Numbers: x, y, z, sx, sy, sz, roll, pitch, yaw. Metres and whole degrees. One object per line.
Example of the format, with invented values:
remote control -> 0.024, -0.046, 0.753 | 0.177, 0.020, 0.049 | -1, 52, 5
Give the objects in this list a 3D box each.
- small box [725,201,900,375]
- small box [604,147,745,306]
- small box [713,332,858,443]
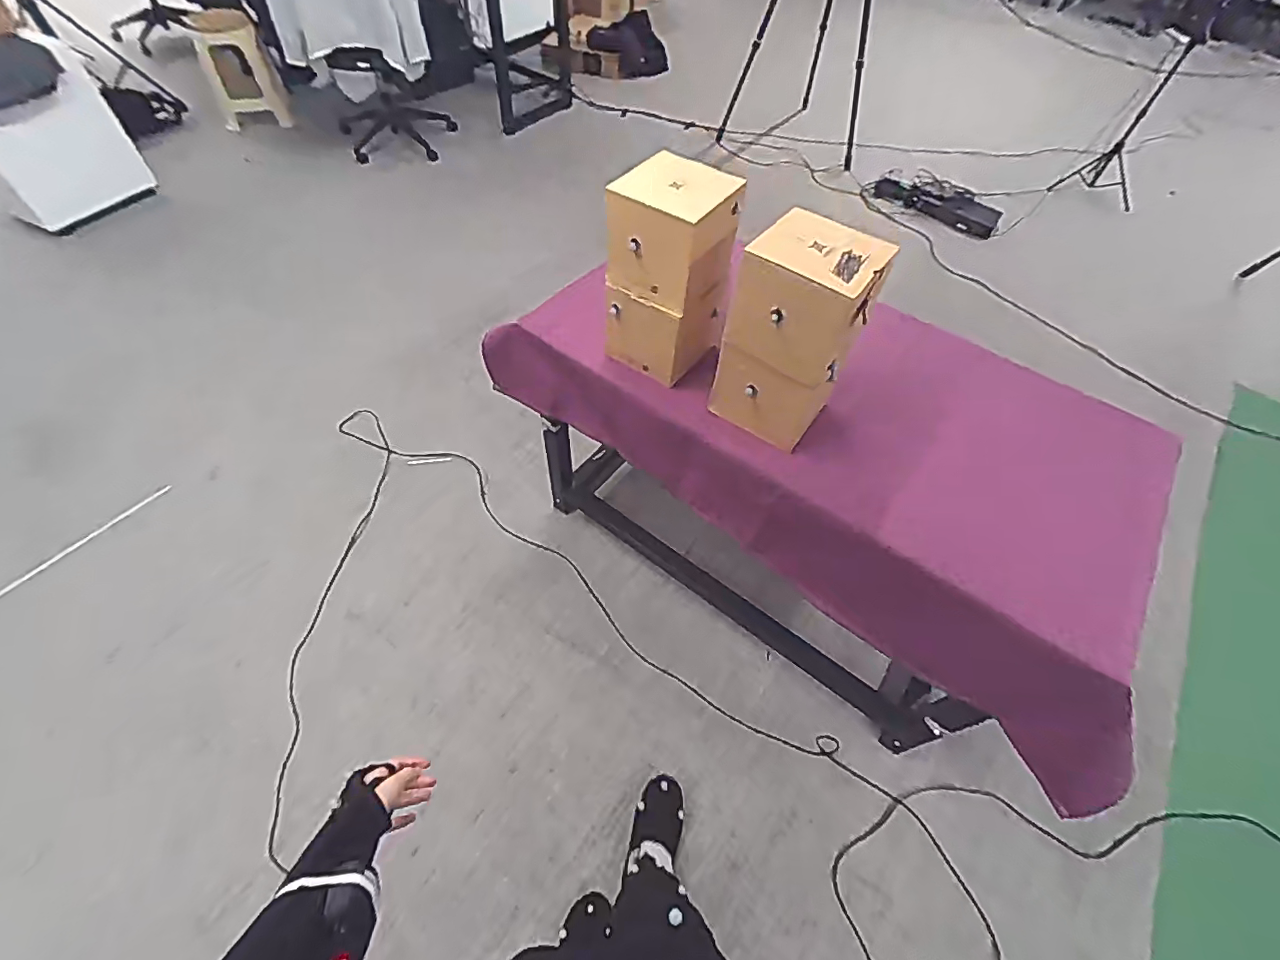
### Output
small box -> 0.255, -0.287, 0.831 | 0.179, 0.176, 0.168 | 33, 59, 19
small box -> 0.055, -0.428, 0.921 | 0.168, 0.176, 0.179 | 30, 57, 17
small box -> 0.250, -0.196, 0.968 | 0.179, 0.176, 0.168 | 32, 59, 18
